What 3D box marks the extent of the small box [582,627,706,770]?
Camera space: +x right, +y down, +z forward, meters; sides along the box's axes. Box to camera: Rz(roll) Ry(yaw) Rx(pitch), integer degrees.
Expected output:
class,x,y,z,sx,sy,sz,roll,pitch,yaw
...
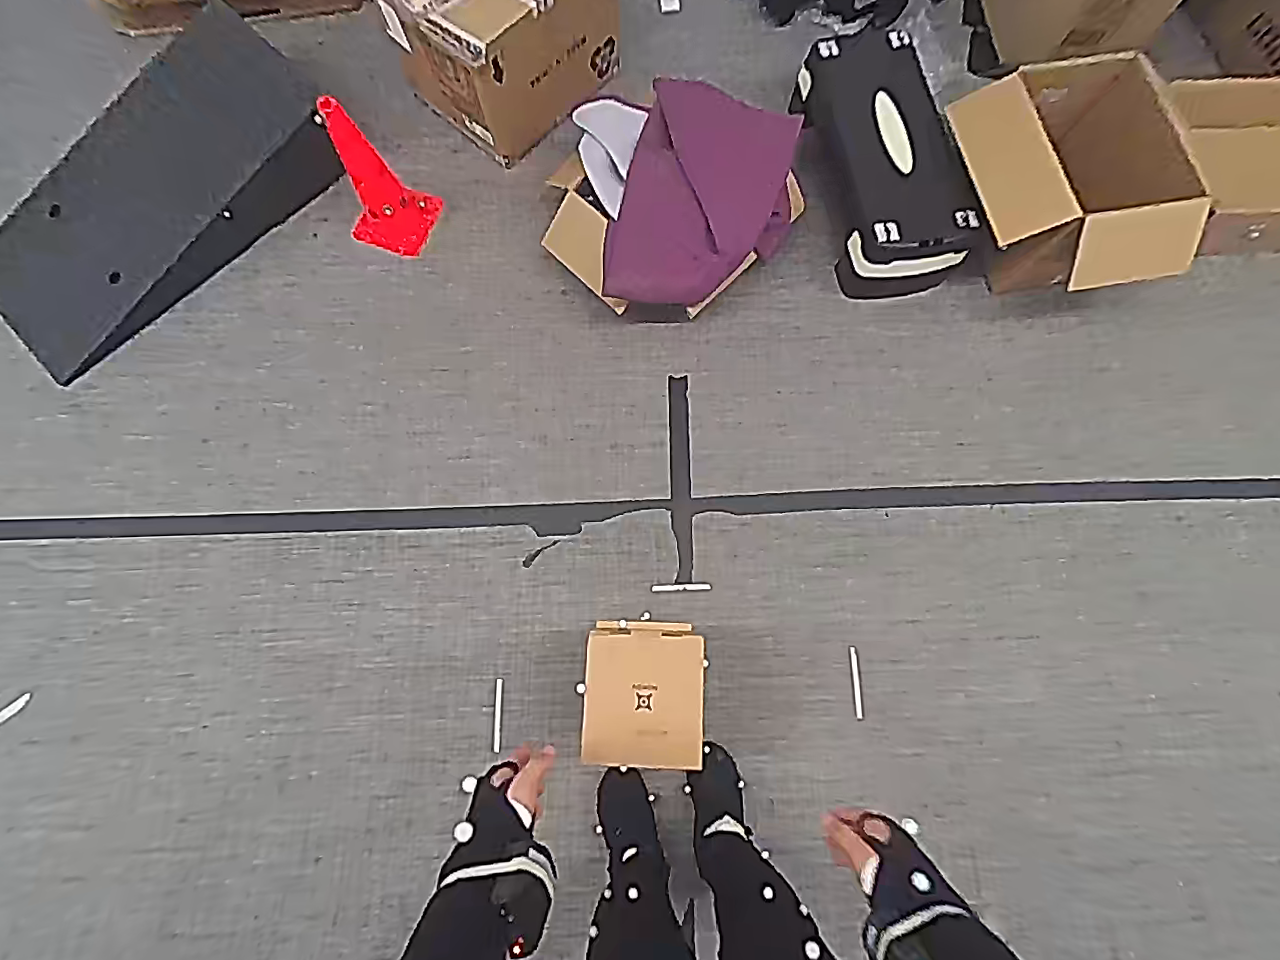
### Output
class,x,y,z,sx,sy,sz,roll,pitch,yaw
small box,0.006,0.317,0.818,0.168,0.176,0.179,2,78,1

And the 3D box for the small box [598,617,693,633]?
class,x,y,z,sx,sy,sz,roll,pitch,yaw
small box,0.005,0.342,0.980,0.168,0.176,0.179,2,77,0
